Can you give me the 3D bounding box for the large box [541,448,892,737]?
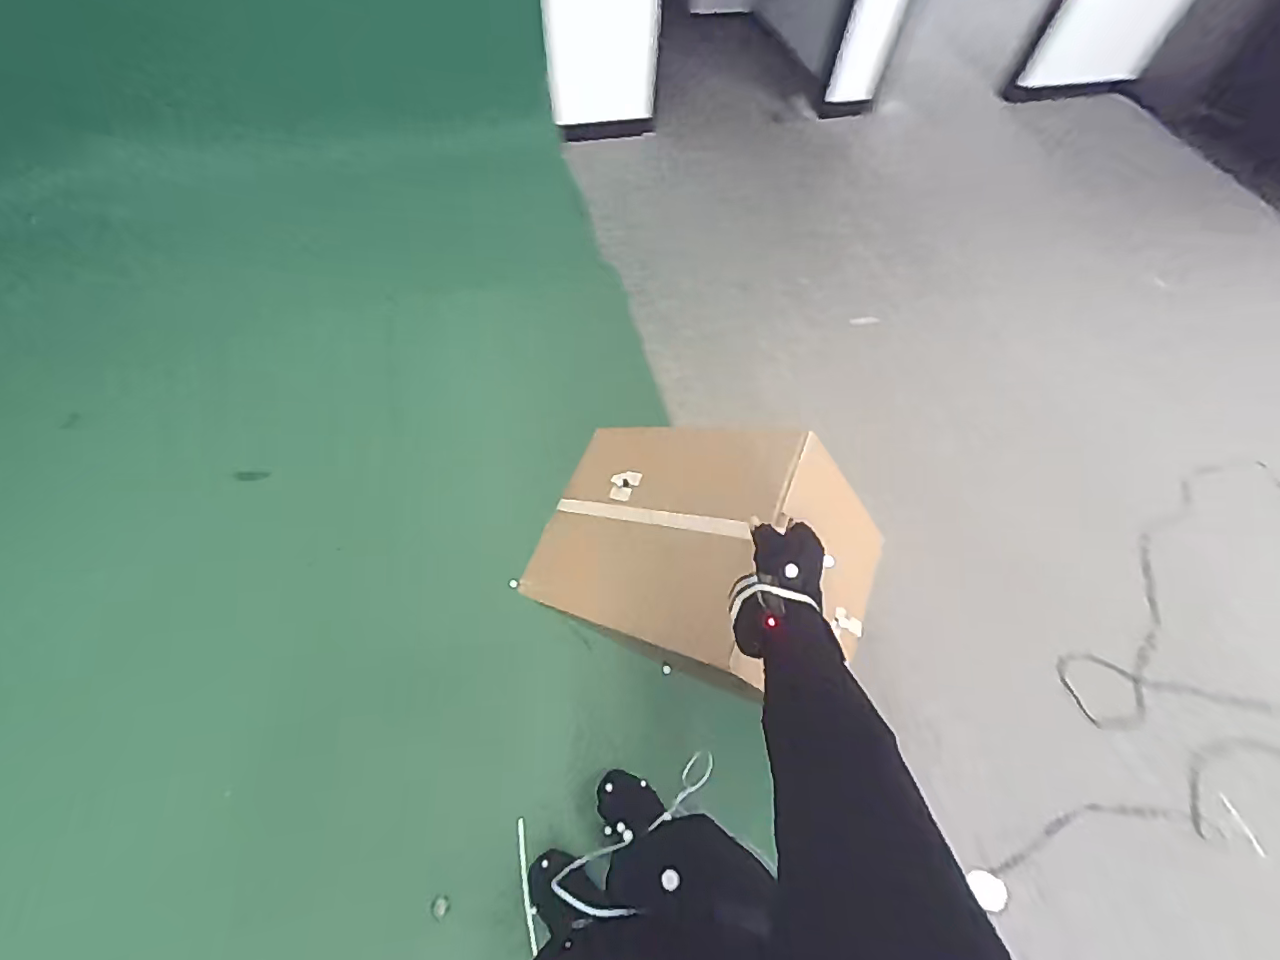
[{"bbox_3d":[0.127,0.159,0.868,0.408,0.320,0.320,4,61,46],"label":"large box"}]
